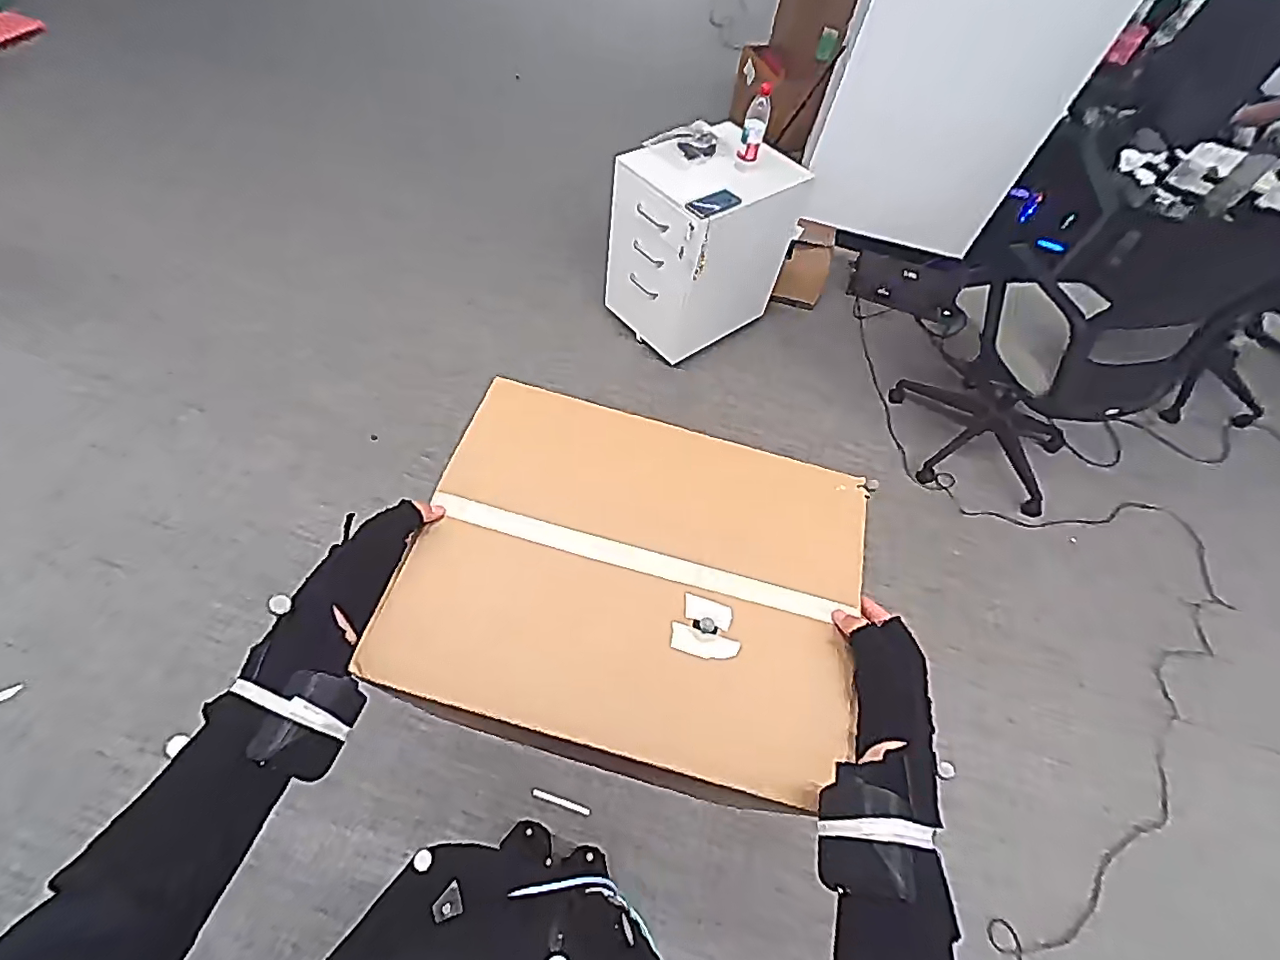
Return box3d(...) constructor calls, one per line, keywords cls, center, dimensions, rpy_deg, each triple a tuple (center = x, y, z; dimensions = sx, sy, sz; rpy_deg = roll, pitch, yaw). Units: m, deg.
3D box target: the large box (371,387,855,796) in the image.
box3d(cls="large box", center=(-0.015, 0.146, 0.636), dimensions=(0.408, 0.320, 0.320), rpy_deg=(16, 61, 0))
